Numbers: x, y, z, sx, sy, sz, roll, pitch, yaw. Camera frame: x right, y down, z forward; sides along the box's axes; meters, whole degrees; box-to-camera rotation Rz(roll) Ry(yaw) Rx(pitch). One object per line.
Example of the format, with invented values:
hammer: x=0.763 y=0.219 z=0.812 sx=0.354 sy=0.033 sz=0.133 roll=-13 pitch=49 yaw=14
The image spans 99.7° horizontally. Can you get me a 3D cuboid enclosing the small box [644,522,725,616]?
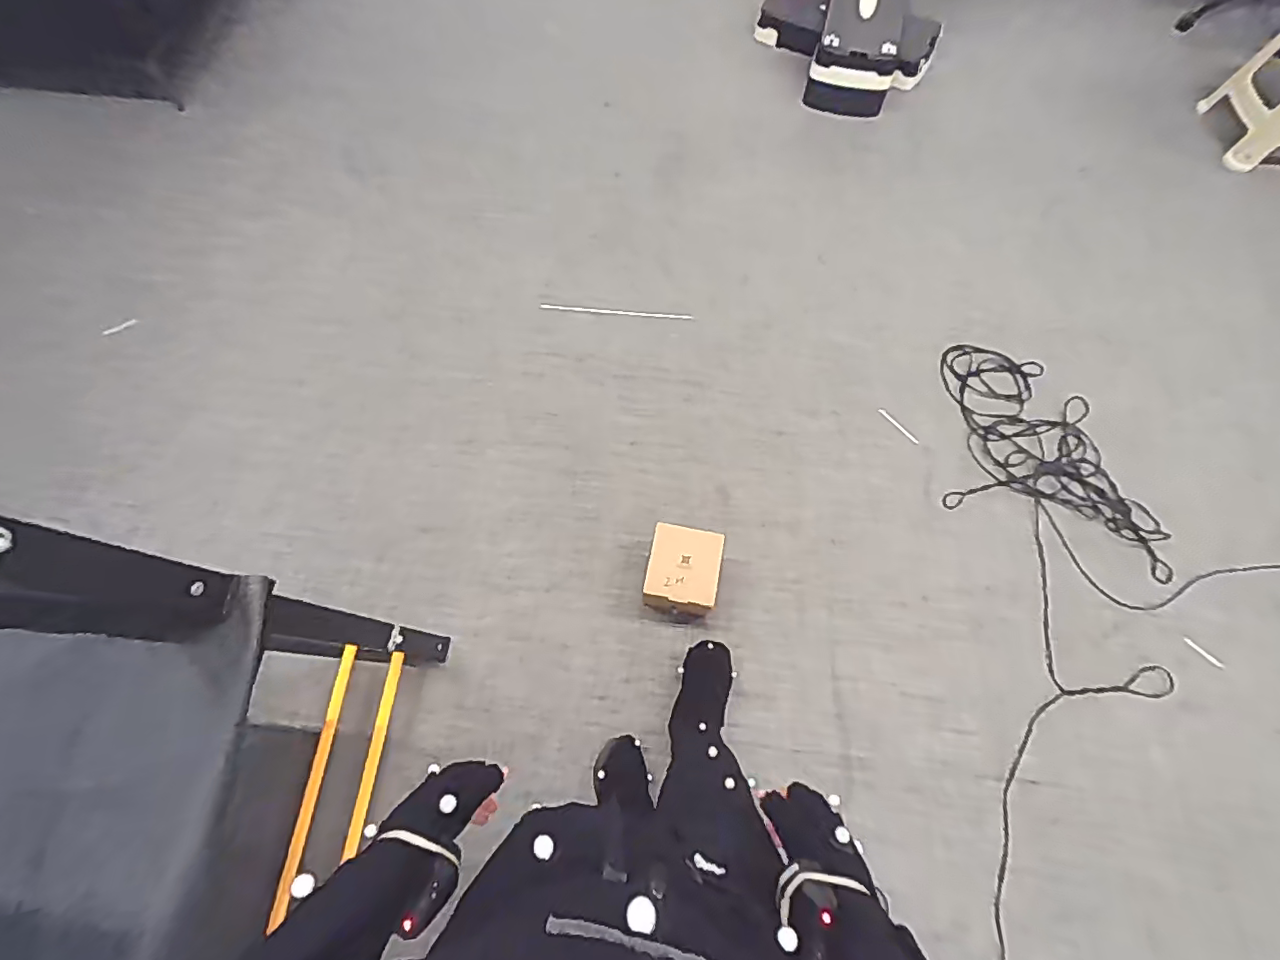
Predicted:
small box: x=0.106 y=0.224 z=1.331 sx=0.168 sy=0.176 sz=0.179 roll=11 pitch=70 yaw=6
